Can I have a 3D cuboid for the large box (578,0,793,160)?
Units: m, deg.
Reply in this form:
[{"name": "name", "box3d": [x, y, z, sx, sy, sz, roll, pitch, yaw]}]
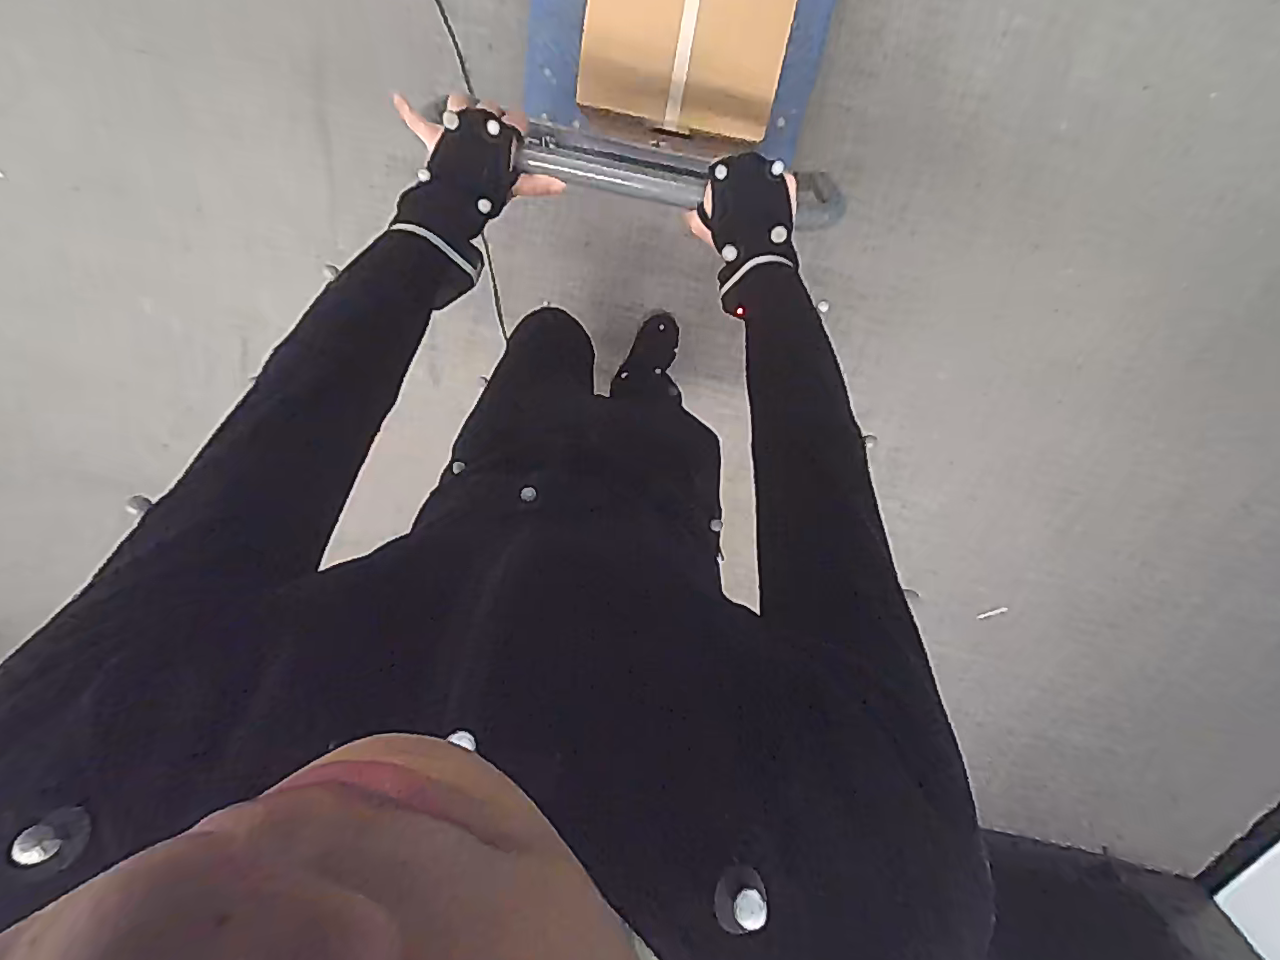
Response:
[{"name": "large box", "box3d": [0.089, -0.826, 0.939, 0.320, 0.320, 0.408, 10, 114, -3]}]
